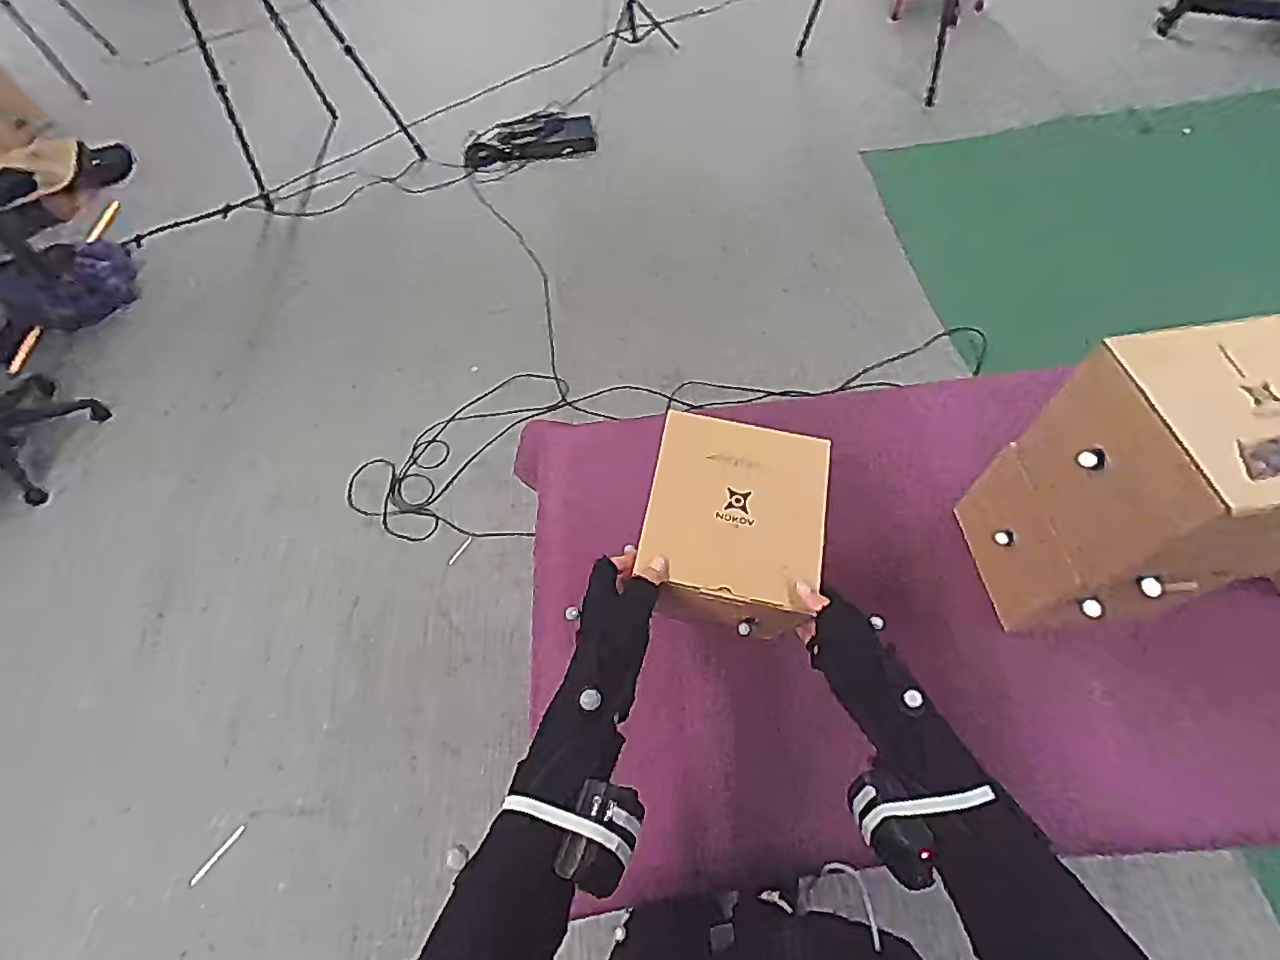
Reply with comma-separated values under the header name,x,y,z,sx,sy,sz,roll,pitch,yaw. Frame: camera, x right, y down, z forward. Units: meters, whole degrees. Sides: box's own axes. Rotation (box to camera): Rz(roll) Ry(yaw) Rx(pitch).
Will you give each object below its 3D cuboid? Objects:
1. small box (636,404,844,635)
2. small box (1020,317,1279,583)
name,x,y,z,sx,sy,sz,roll,pitch,yaw
small box,0.094,0.051,0.556,0.168,0.176,0.179,12,67,3
small box,0.497,-0.016,0.490,0.168,0.176,0.179,-7,57,3
